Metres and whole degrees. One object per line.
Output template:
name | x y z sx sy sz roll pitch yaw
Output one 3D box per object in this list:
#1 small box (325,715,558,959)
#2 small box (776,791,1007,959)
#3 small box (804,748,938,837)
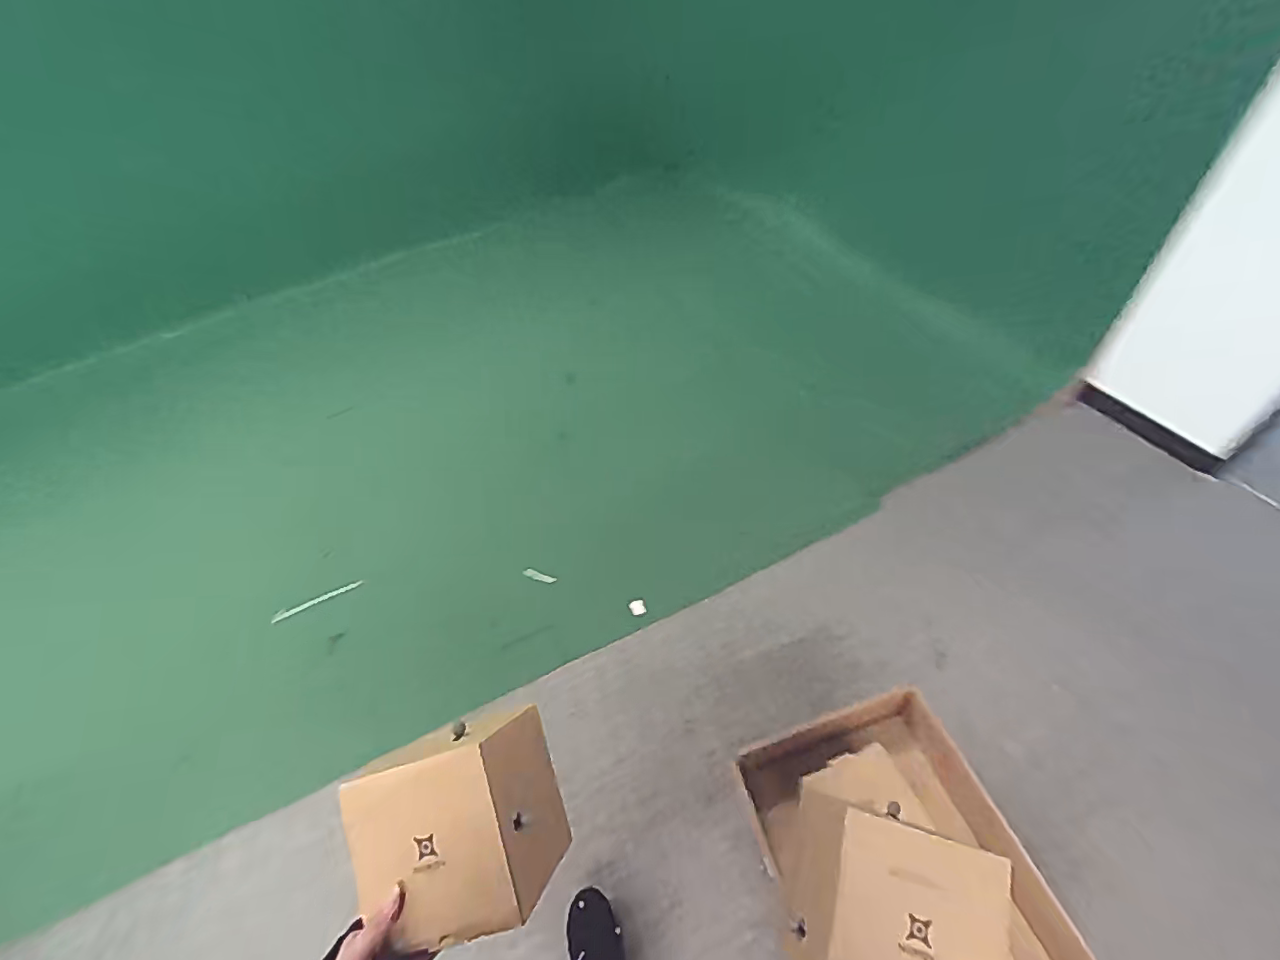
small box | -0.209 0.383 0.607 0.168 0.176 0.179 -19 80 4
small box | 0.253 0.459 0.576 0.168 0.176 0.179 16 67 6
small box | 0.400 0.619 0.968 0.168 0.176 0.179 -20 50 -7
